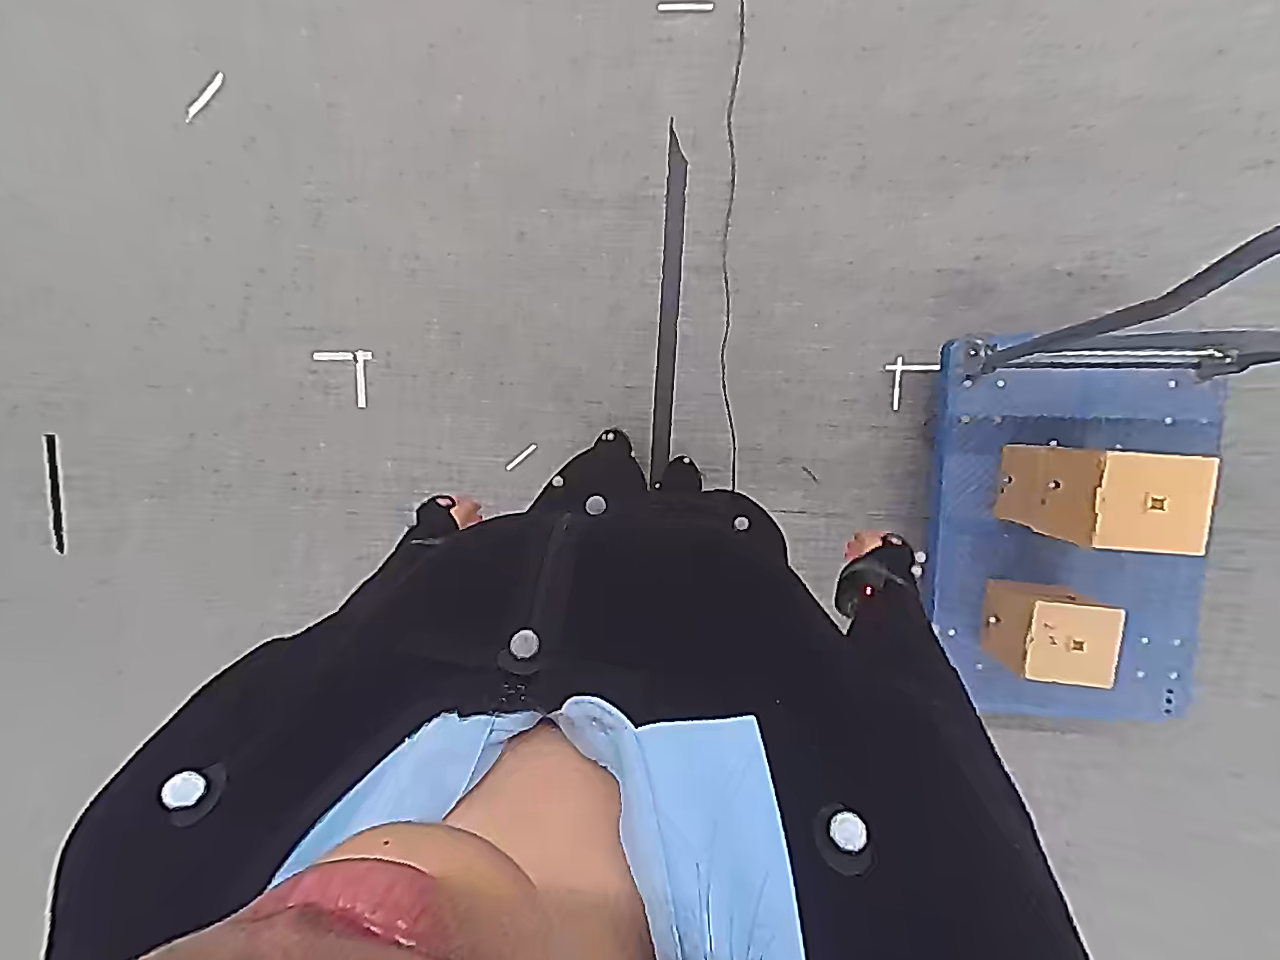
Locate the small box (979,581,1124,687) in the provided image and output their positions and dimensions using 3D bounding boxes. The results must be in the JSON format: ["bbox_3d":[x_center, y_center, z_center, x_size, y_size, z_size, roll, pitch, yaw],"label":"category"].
[{"bbox_3d":[0.876,0.324,1.167,0.179,0.176,0.168,6,95,4],"label":"small box"}]

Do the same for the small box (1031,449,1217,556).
[{"bbox_3d":[0.860,0.033,0.978,0.179,0.176,0.168,3,96,6],"label":"small box"}]
